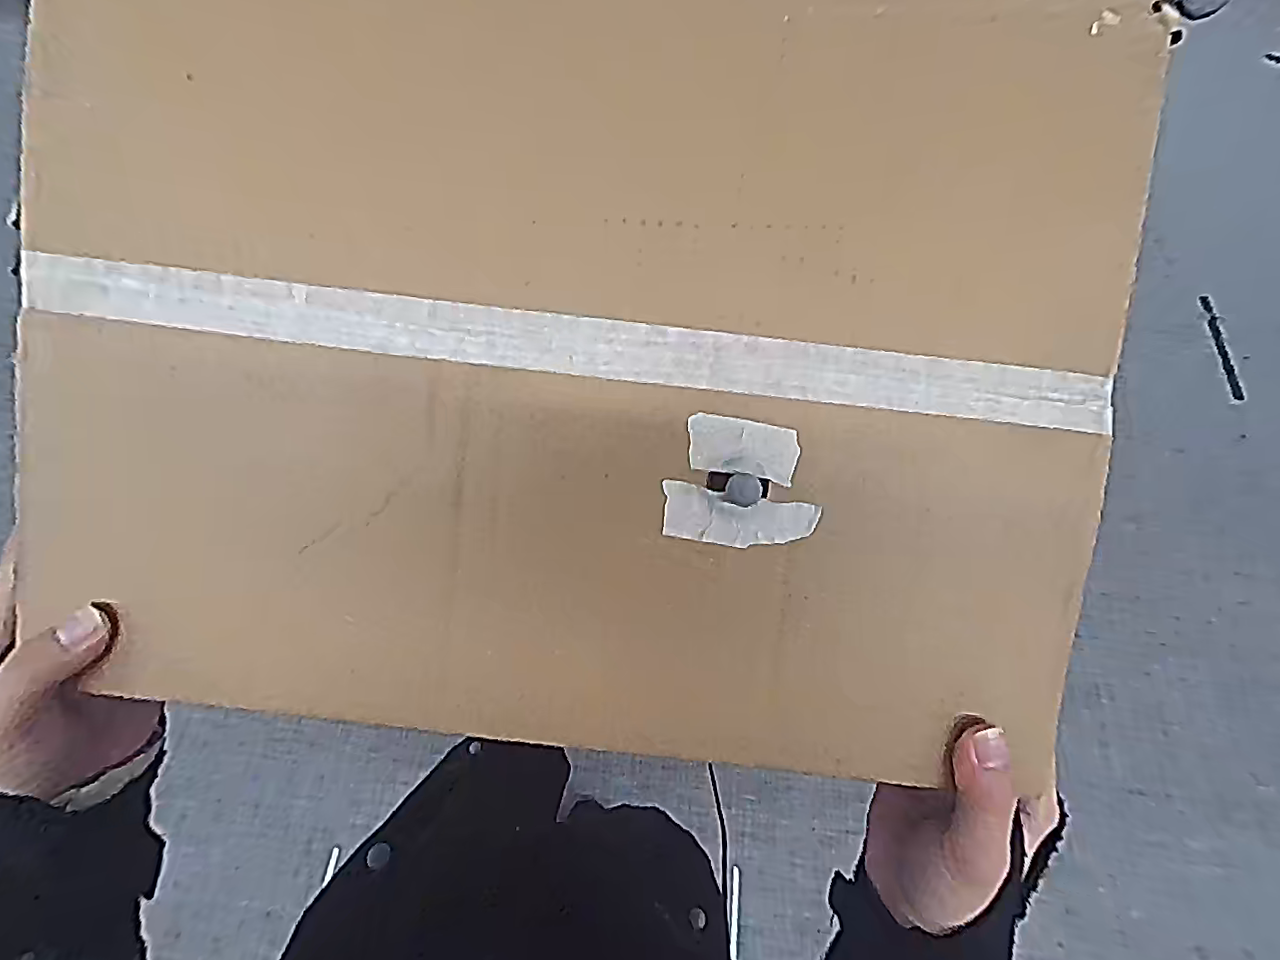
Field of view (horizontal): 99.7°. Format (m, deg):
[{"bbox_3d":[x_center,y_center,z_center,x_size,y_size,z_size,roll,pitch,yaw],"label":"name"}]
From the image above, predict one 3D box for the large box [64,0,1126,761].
[{"bbox_3d":[-0.023,-0.058,0.364,0.408,0.320,0.320,6,94,-2],"label":"large box"}]
